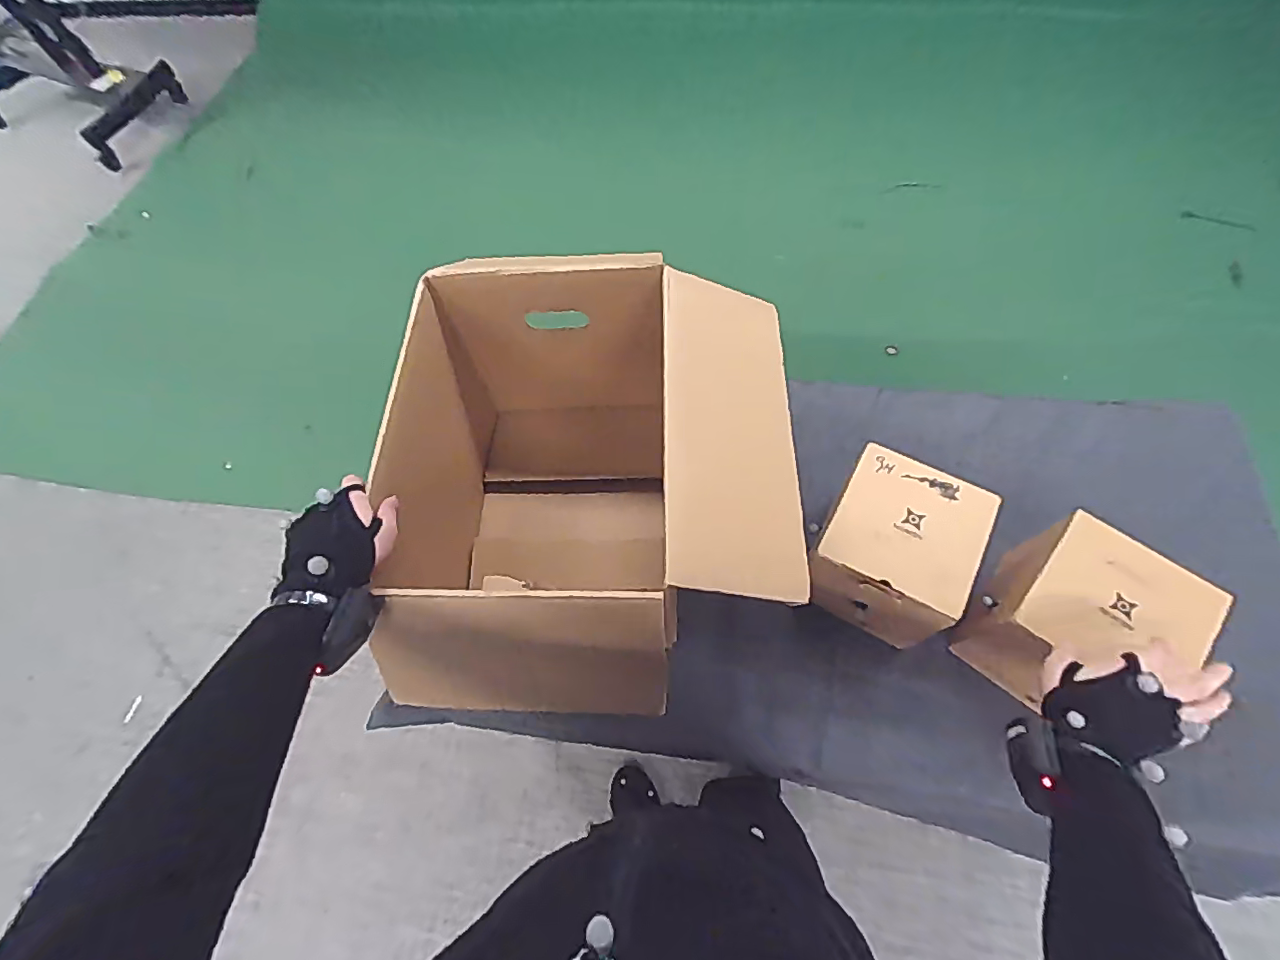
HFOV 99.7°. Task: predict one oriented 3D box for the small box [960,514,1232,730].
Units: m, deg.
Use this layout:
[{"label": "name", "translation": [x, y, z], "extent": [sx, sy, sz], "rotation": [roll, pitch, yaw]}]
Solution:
[{"label": "small box", "translation": [0.527, 0.179, 0.655], "extent": [0.168, 0.176, 0.179], "rotation": [36, 70, 19]}]
